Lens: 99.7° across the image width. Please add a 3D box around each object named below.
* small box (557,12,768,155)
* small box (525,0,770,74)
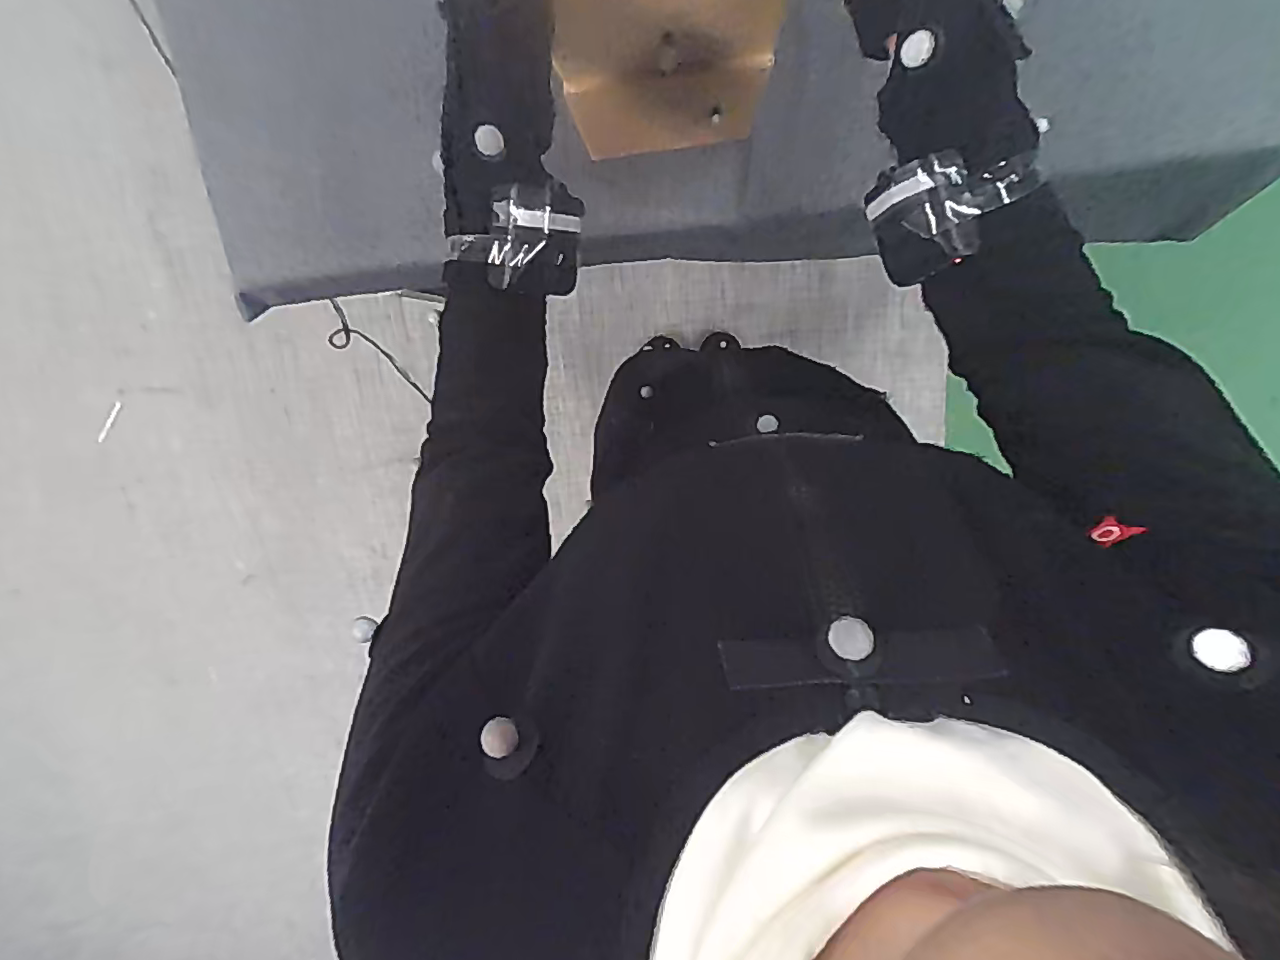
[{"bbox_3d":[0.015,-0.431,0.505,0.179,0.176,0.168,-6,103,6],"label":"small box"},{"bbox_3d":[0.003,-0.399,0.344,0.179,0.176,0.168,-5,102,4],"label":"small box"}]
